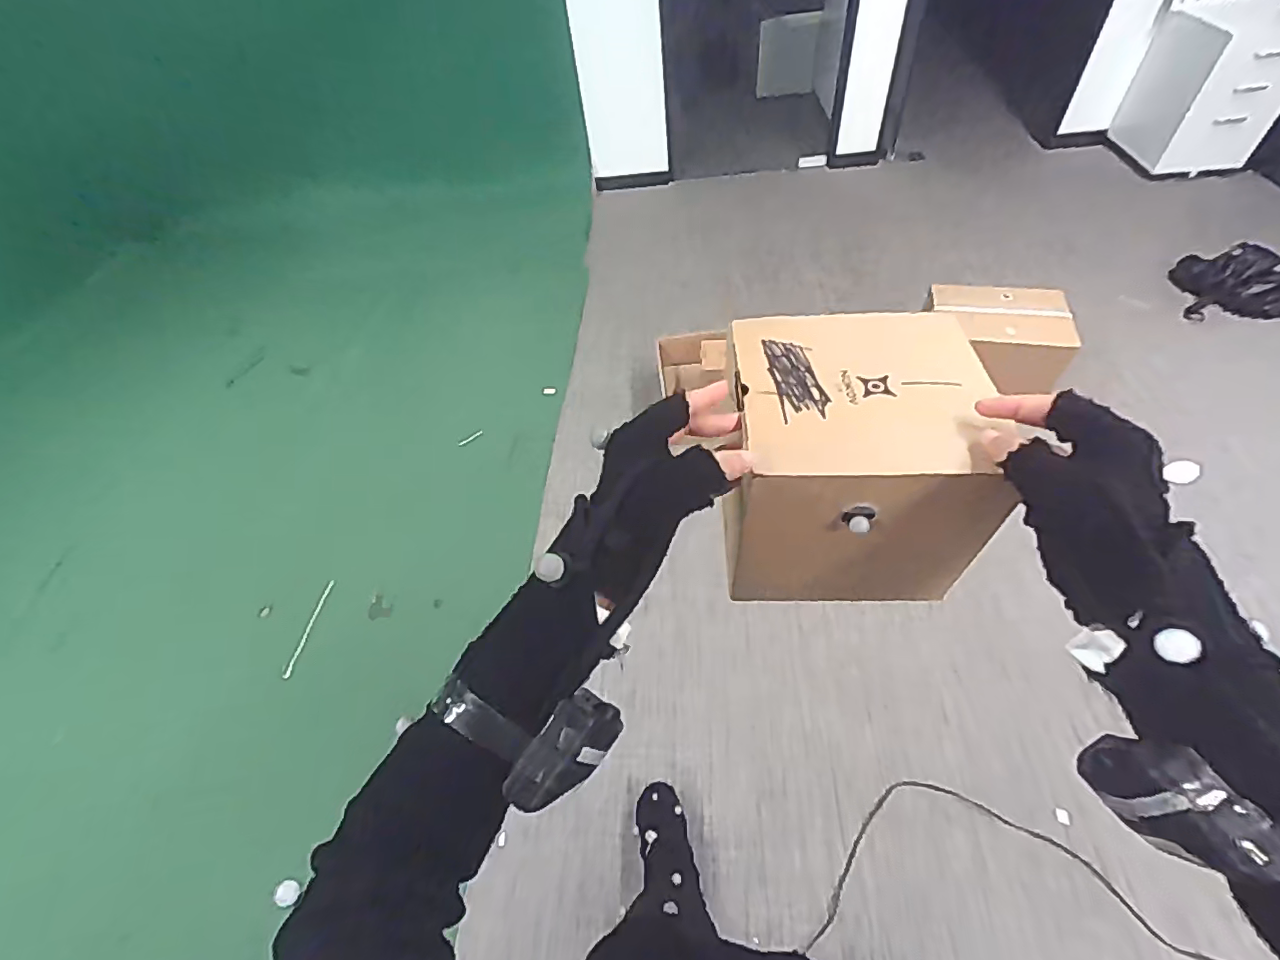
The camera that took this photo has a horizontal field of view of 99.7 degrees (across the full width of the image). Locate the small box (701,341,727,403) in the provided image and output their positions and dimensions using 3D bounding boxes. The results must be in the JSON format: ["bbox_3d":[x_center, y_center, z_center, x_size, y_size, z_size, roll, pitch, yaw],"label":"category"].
[{"bbox_3d":[0.315,-0.395,1.995,0.179,0.176,0.168,0,52,5],"label":"small box"}]

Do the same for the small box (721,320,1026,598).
[{"bbox_3d":[0.160,-0.013,0.449,0.179,0.176,0.168,0,51,3],"label":"small box"}]
